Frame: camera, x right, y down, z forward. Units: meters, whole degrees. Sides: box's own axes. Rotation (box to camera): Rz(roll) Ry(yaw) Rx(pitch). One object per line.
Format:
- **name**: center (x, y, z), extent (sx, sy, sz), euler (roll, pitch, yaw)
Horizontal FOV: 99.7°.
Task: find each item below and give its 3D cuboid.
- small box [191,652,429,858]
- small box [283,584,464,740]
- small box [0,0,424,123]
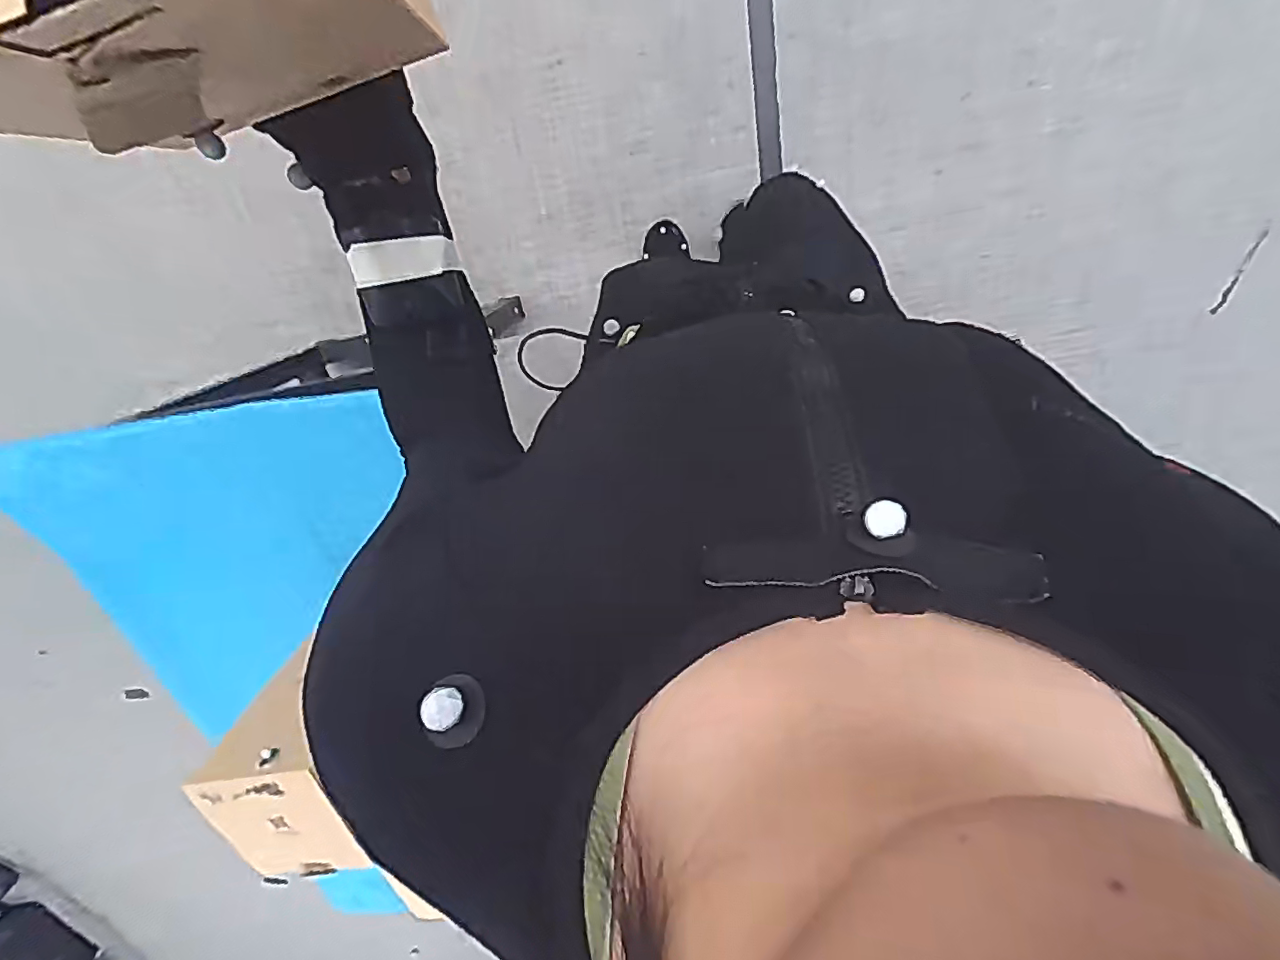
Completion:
- **small box**: center (-0.412, 0.358, 0.714), extent (0.168, 0.176, 0.179), euler (-13, 114, 11)
- **small box**: center (-0.406, 0.293, 0.863), extent (0.168, 0.176, 0.179), euler (-10, 116, 8)
- **small box**: center (-0.205, -0.248, 0.188), extent (0.168, 0.176, 0.179), euler (-17, 117, 5)
